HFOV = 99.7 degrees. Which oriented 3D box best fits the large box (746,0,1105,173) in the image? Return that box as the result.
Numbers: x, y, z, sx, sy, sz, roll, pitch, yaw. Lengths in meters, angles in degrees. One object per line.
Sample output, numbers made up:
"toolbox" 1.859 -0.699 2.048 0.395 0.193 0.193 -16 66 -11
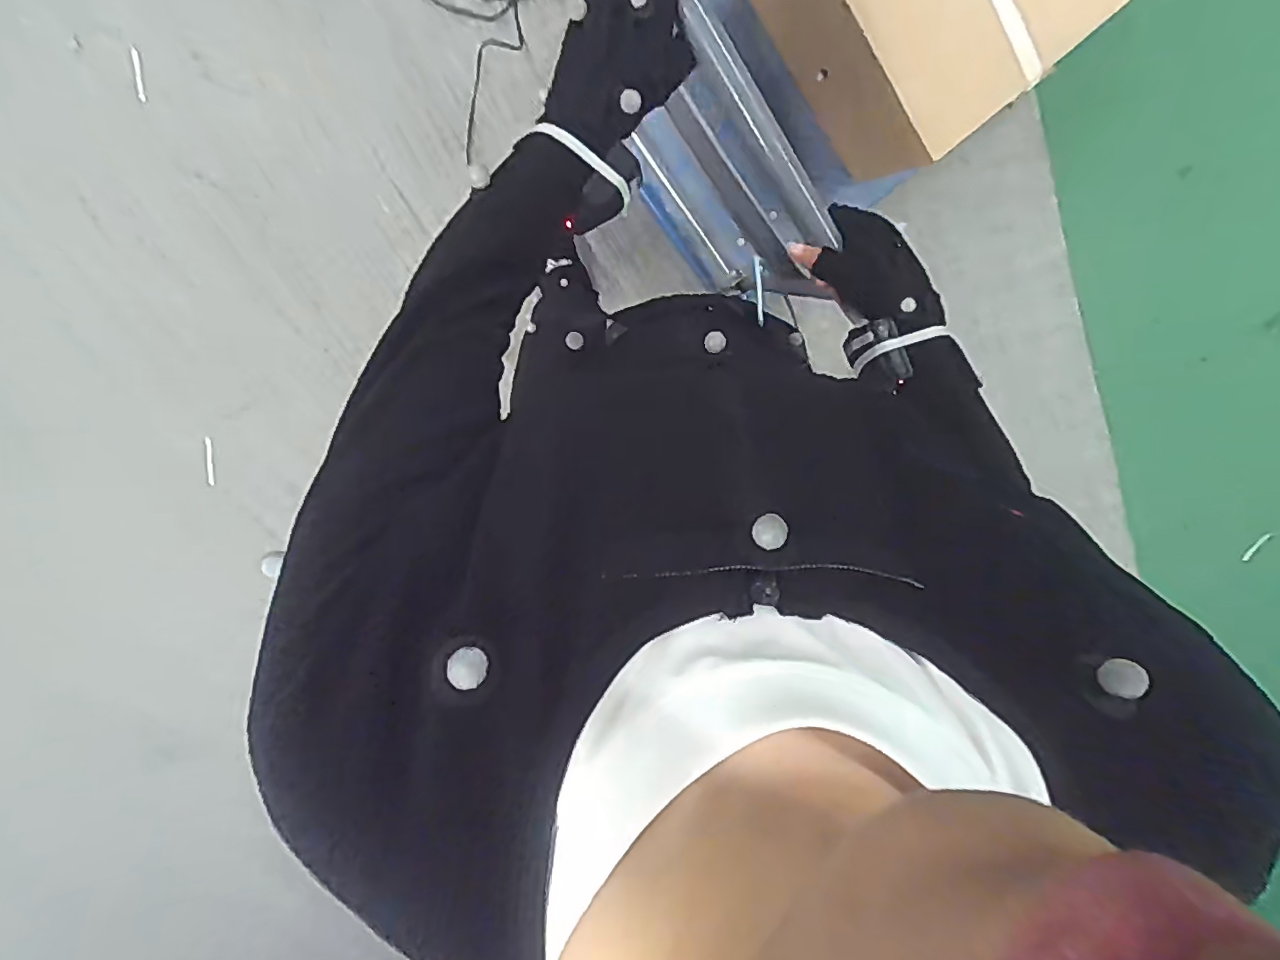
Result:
"large box" 0.416 -0.777 0.852 0.320 0.320 0.408 -39 109 14
